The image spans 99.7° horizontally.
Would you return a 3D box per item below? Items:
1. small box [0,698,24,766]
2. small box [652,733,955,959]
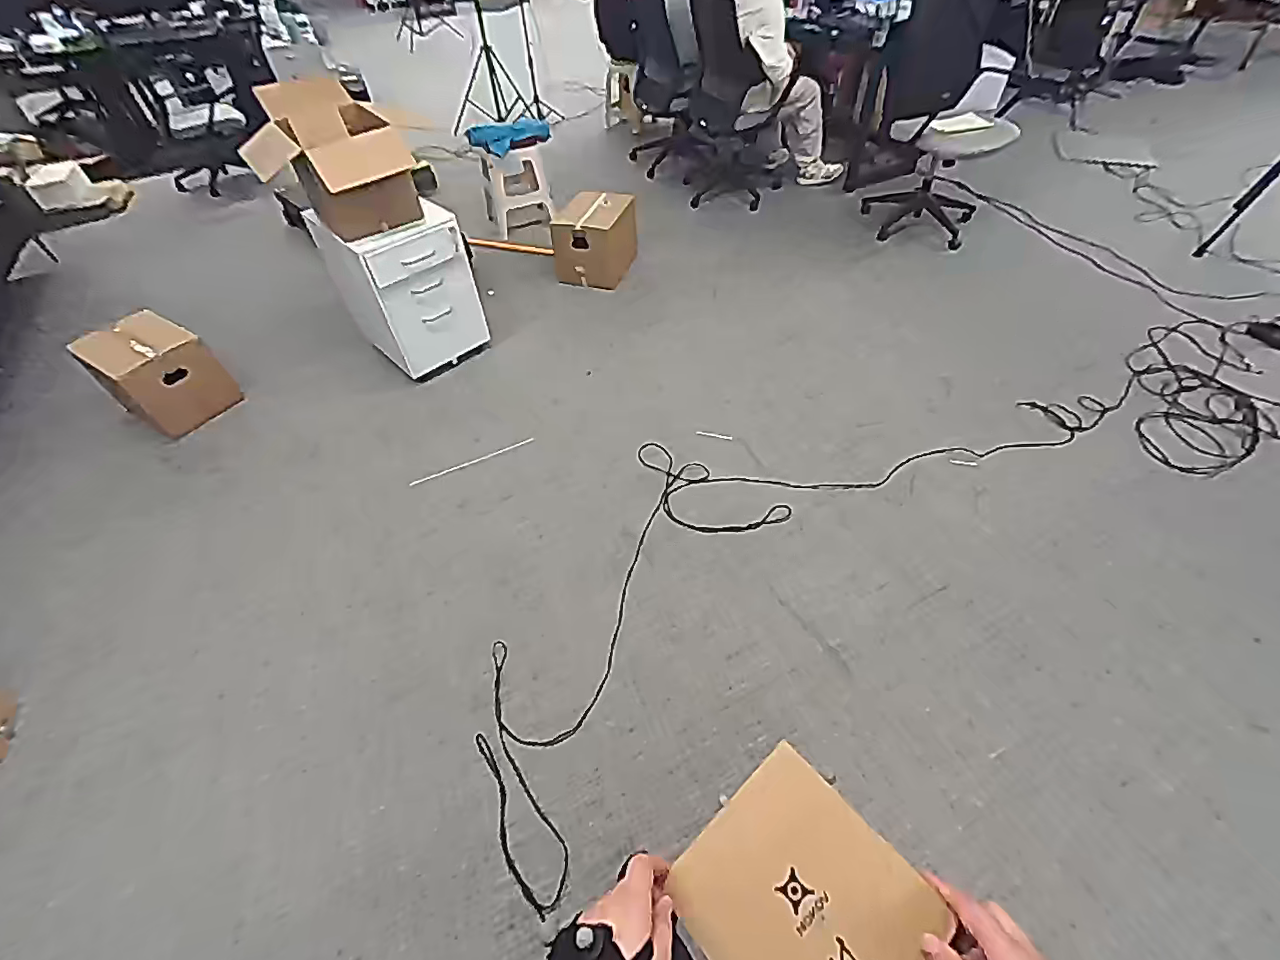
[{"bbox_3d":[-1.744,0.658,1.361,0.179,0.176,0.168,-21,52,-16],"label":"small box"},{"bbox_3d":[0.138,0.372,0.494,0.168,0.176,0.179,-42,57,-14],"label":"small box"}]
